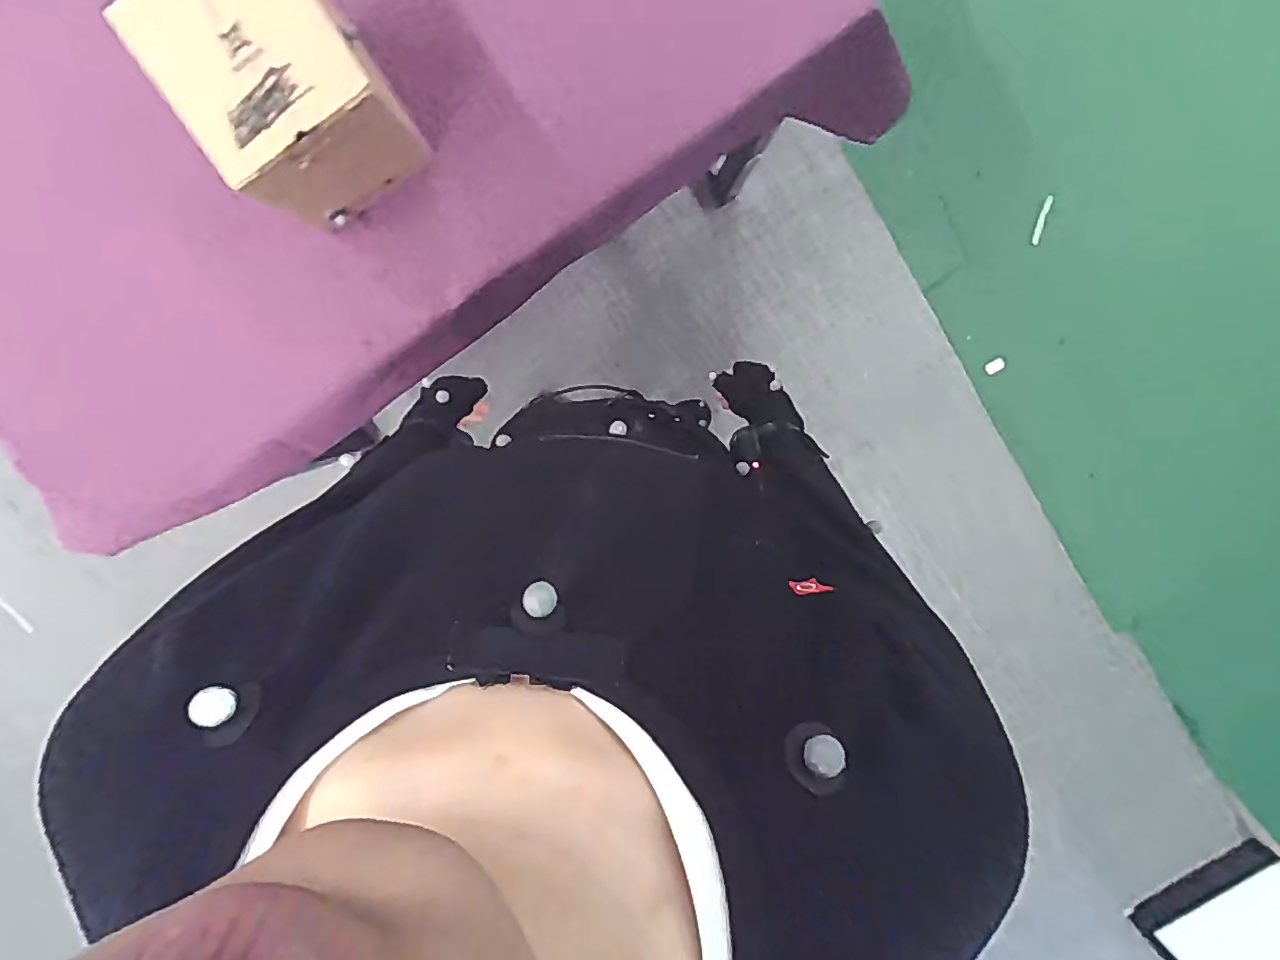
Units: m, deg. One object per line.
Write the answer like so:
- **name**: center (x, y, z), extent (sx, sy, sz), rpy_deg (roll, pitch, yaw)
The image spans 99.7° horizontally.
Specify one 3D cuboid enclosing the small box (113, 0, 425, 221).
- **small box**: center (-0.364, -0.403, 0.573), extent (0.168, 0.176, 0.179), rpy_deg (-33, 99, 4)
